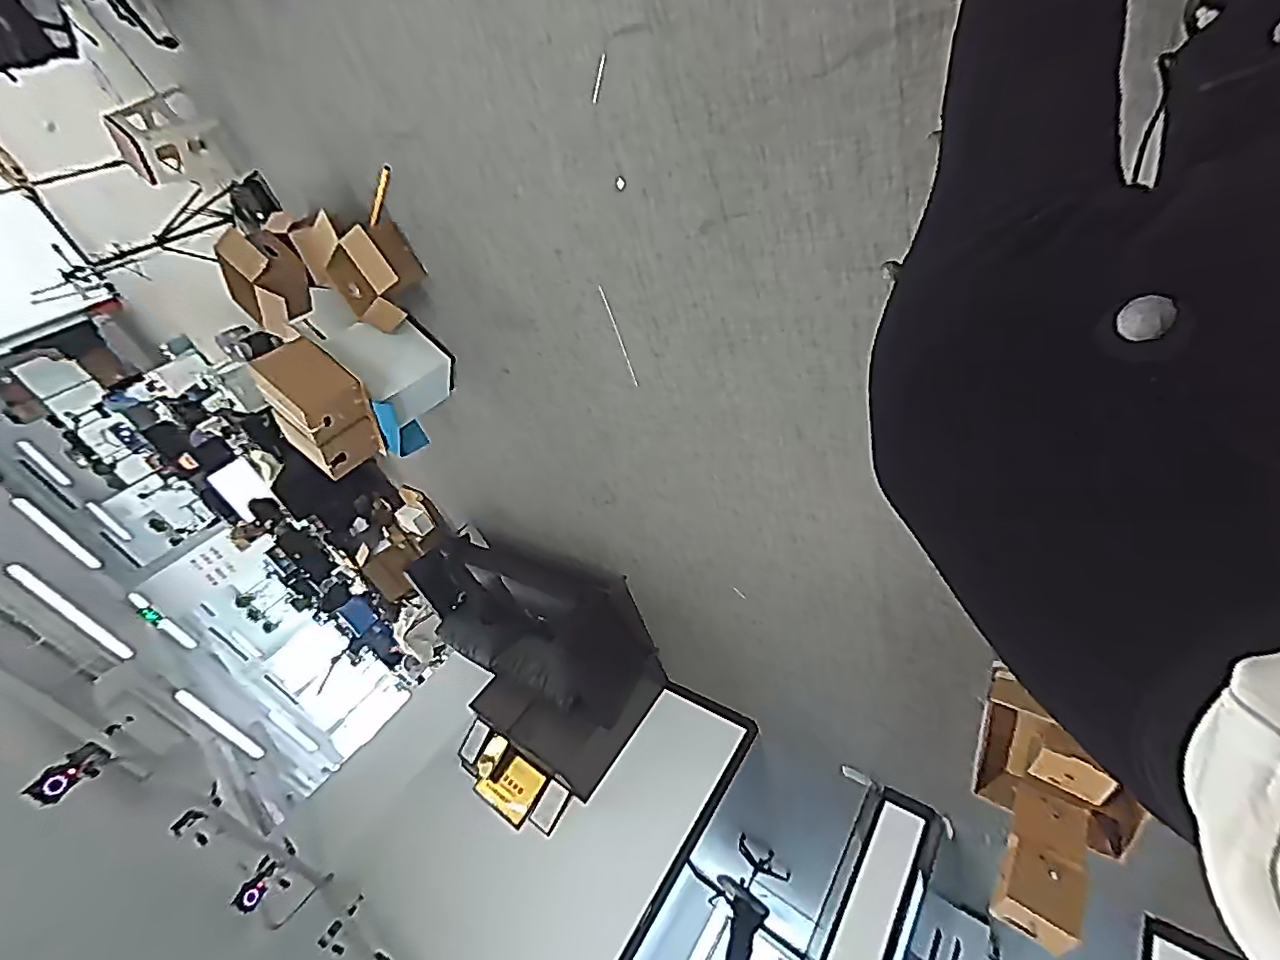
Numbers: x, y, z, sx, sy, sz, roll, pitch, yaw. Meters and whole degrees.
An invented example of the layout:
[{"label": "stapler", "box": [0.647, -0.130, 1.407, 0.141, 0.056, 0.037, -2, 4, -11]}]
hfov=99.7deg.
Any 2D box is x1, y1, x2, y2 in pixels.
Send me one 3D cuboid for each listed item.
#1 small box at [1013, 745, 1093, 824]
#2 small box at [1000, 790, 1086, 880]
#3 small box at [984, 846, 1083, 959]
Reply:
[{"label": "small box", "box": [1.258, 0.956, 1.649, 0.168, 0.176, 0.179, 12, 133, 39]}, {"label": "small box", "box": [1.161, 1.046, 1.557, 0.168, 0.176, 0.179, 13, 133, 40]}, {"label": "small box", "box": [1.066, 1.144, 1.464, 0.168, 0.176, 0.179, 21, 137, 33]}]
